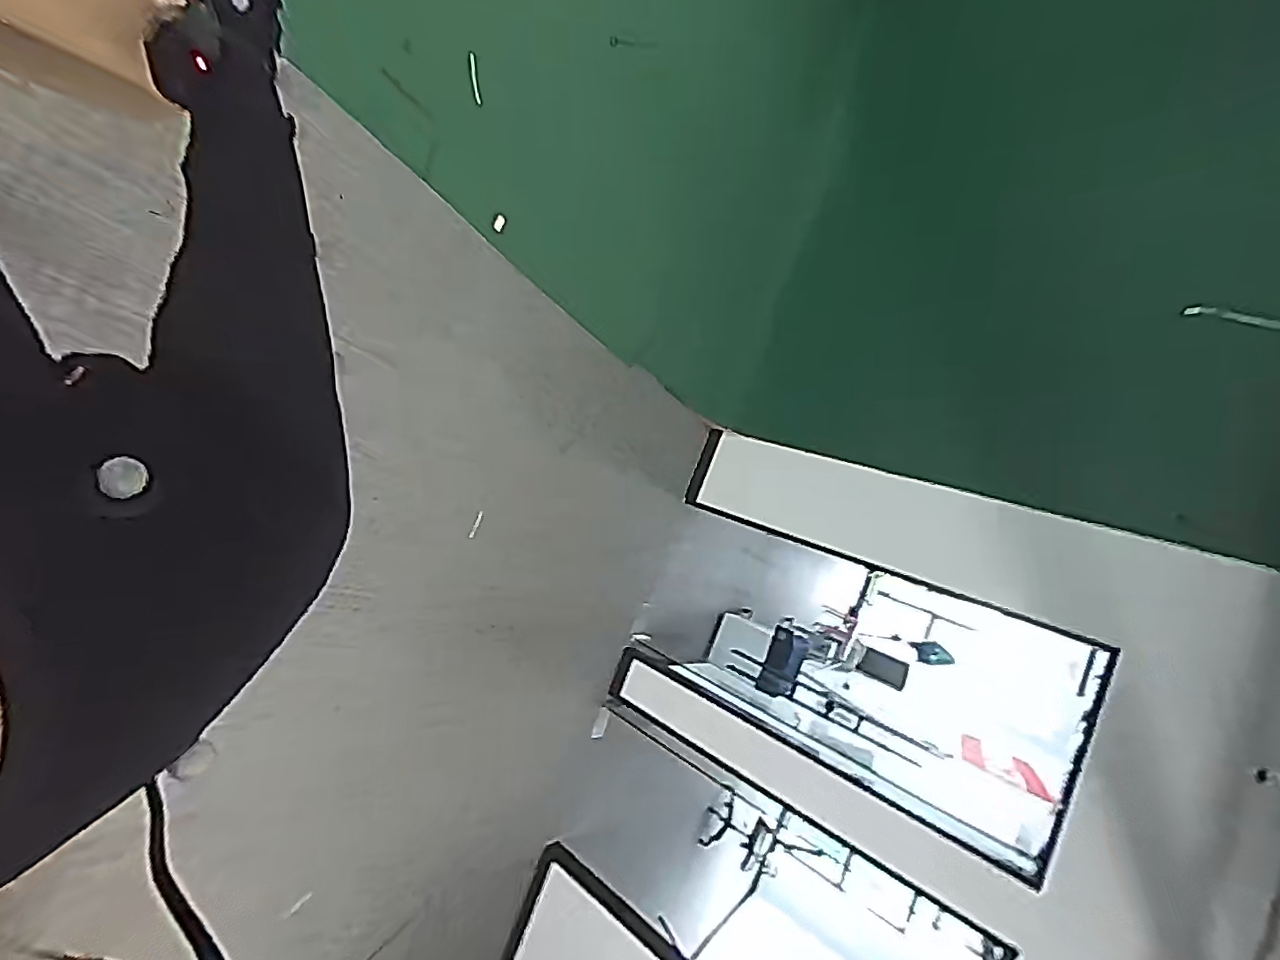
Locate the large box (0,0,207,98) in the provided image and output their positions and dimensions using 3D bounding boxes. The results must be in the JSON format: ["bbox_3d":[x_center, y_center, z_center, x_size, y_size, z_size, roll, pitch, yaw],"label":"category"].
[{"bbox_3d":[-0.586,-0.542,0.383,0.408,0.320,0.320,1,110,-52],"label":"large box"}]
